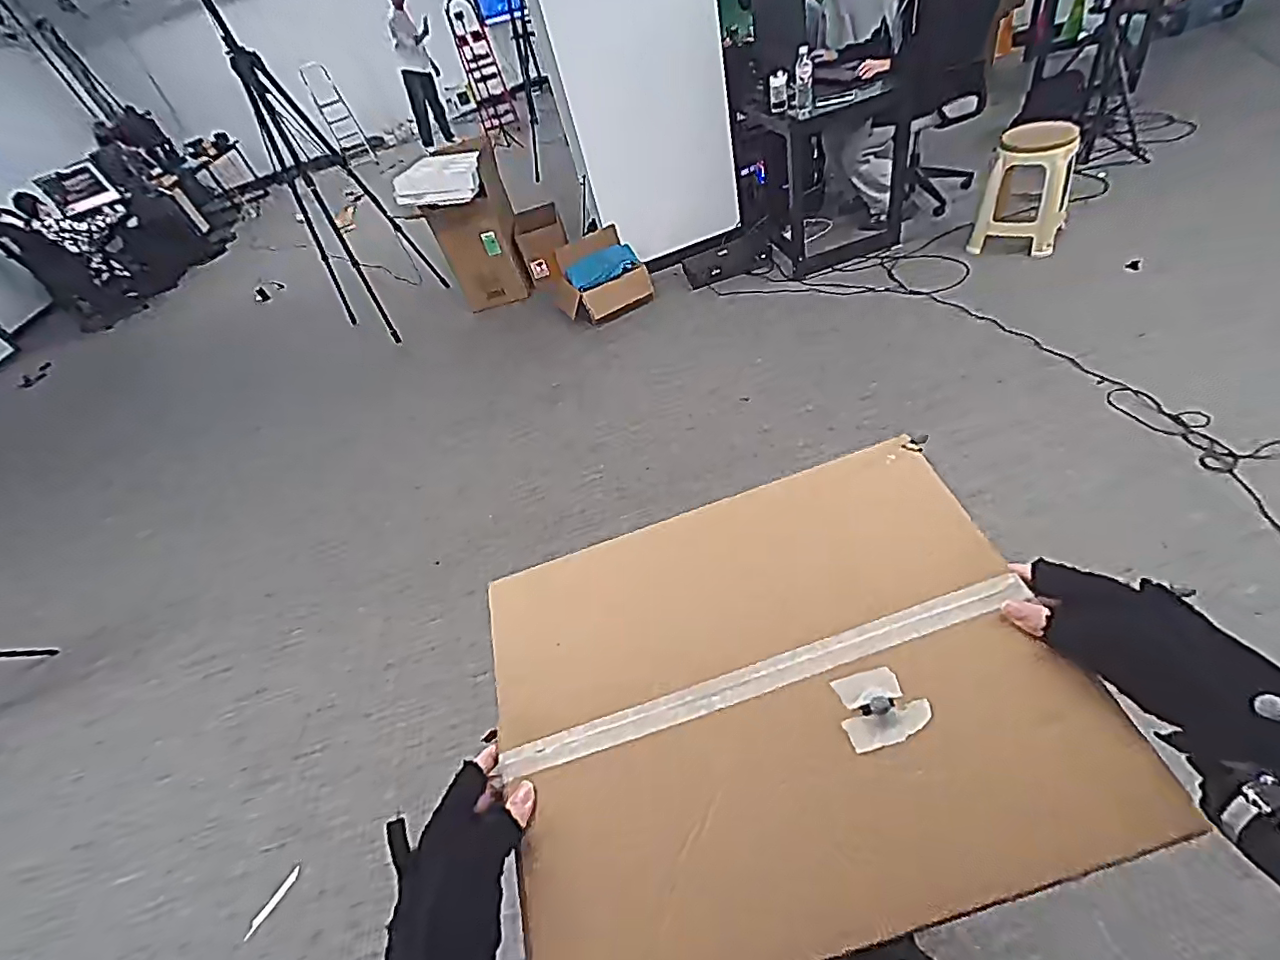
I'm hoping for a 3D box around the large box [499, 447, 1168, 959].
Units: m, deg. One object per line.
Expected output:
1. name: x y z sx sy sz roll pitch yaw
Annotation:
1. large box: 0.125 0.235 0.532 0.408 0.320 0.320 -20 54 1
